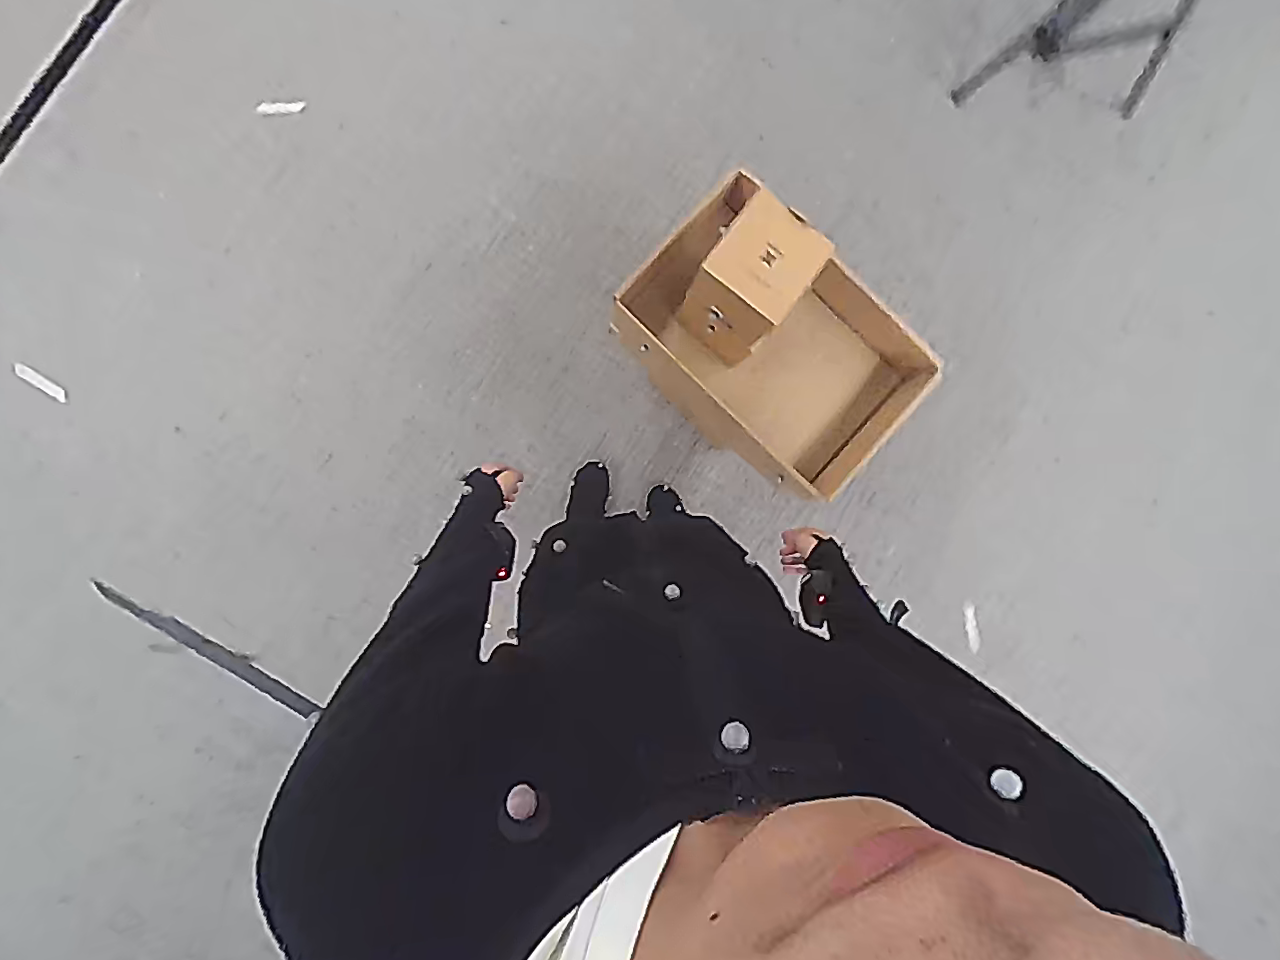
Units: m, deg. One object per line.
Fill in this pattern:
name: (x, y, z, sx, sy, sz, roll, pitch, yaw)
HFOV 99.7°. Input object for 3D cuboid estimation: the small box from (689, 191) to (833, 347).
small box: (0.210, -0.375, 0.995, 0.168, 0.176, 0.179, 37, 87, -4)

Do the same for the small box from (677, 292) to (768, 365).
small box: (0.200, -0.369, 1.158, 0.179, 0.176, 0.168, 40, 87, -6)
